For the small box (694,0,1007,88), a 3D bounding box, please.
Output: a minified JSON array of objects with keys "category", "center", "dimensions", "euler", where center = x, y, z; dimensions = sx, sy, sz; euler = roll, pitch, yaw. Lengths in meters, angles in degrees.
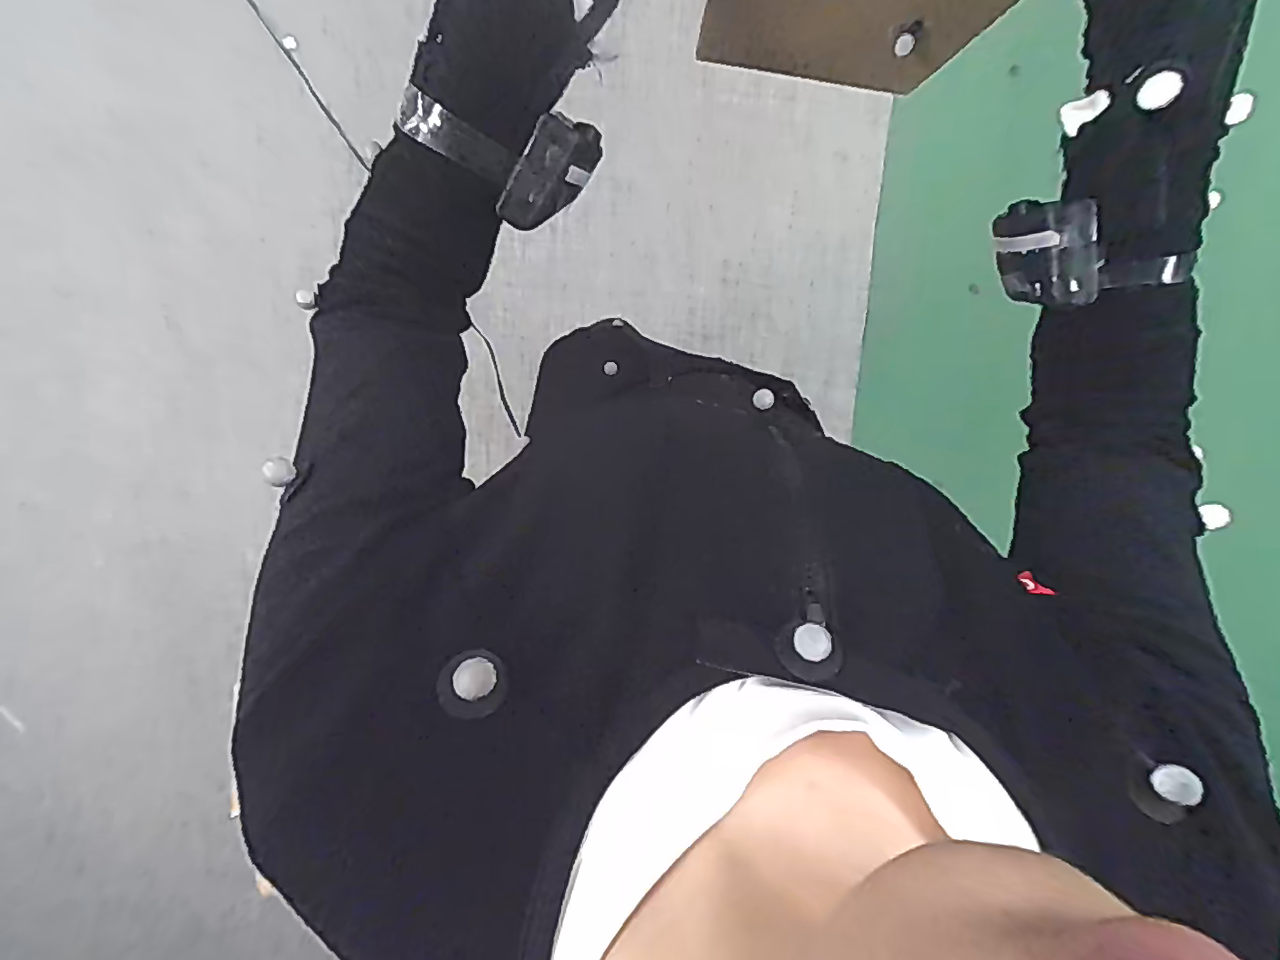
[{"category":"small box","center":[0.137,-0.374,0.331],"dimensions":[0.179,0.176,0.168],"euler":[7,104,-1]}]
